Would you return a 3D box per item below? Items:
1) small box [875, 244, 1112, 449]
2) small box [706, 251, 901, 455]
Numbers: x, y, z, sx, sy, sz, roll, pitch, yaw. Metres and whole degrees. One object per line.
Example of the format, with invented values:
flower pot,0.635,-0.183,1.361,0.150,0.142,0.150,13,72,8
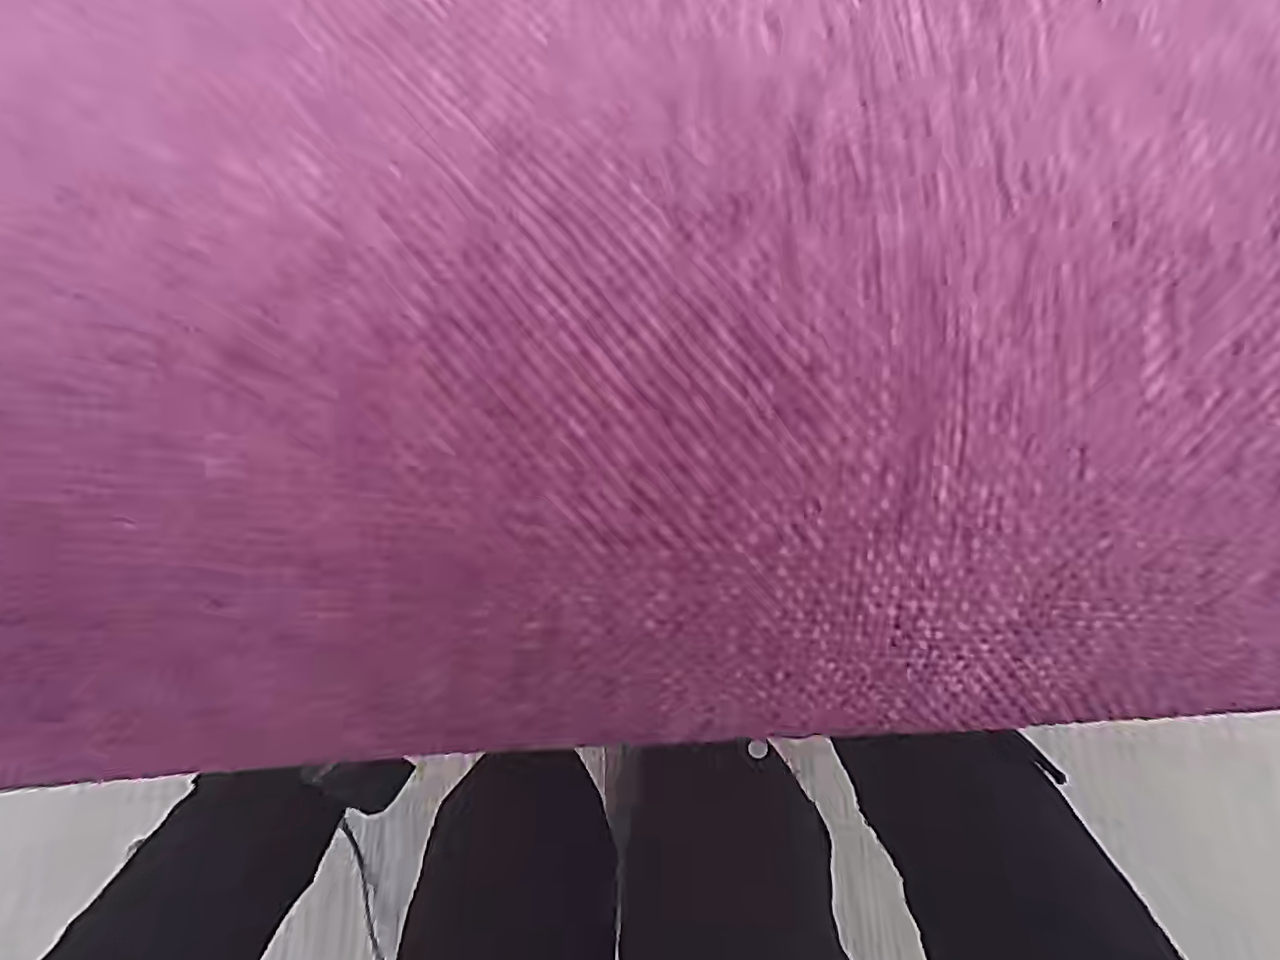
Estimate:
small box,0.377,-0.143,0.623,0.168,0.176,0.179,-3,78,0
small box,0.170,-0.135,0.622,0.168,0.176,0.179,-3,79,0
